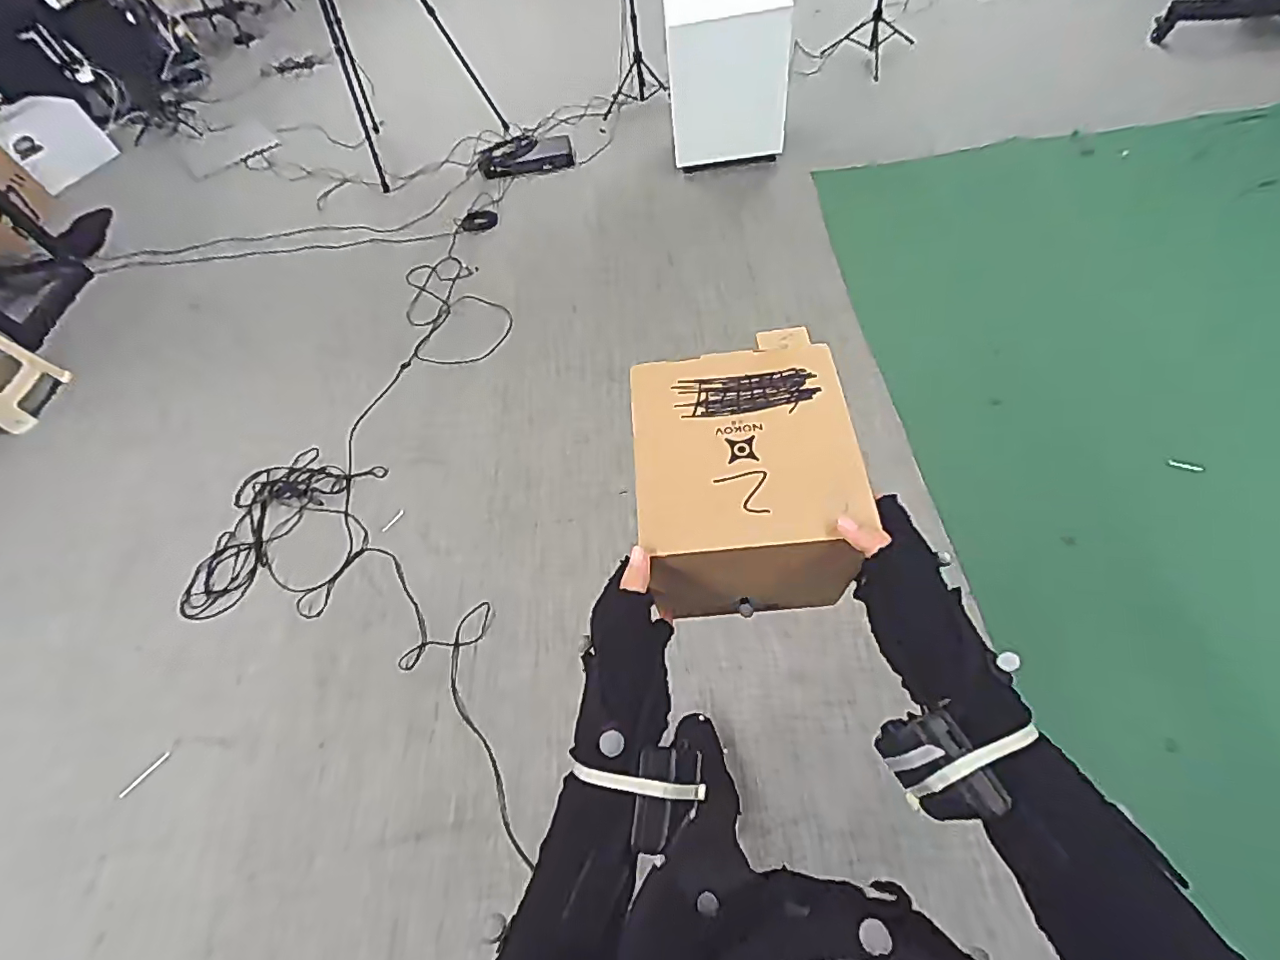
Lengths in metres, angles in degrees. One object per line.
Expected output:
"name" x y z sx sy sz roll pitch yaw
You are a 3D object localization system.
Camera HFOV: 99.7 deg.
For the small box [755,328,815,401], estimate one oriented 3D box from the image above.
"small box" 0.479 -0.377 1.805 0.168 0.176 0.179 -6 57 5
